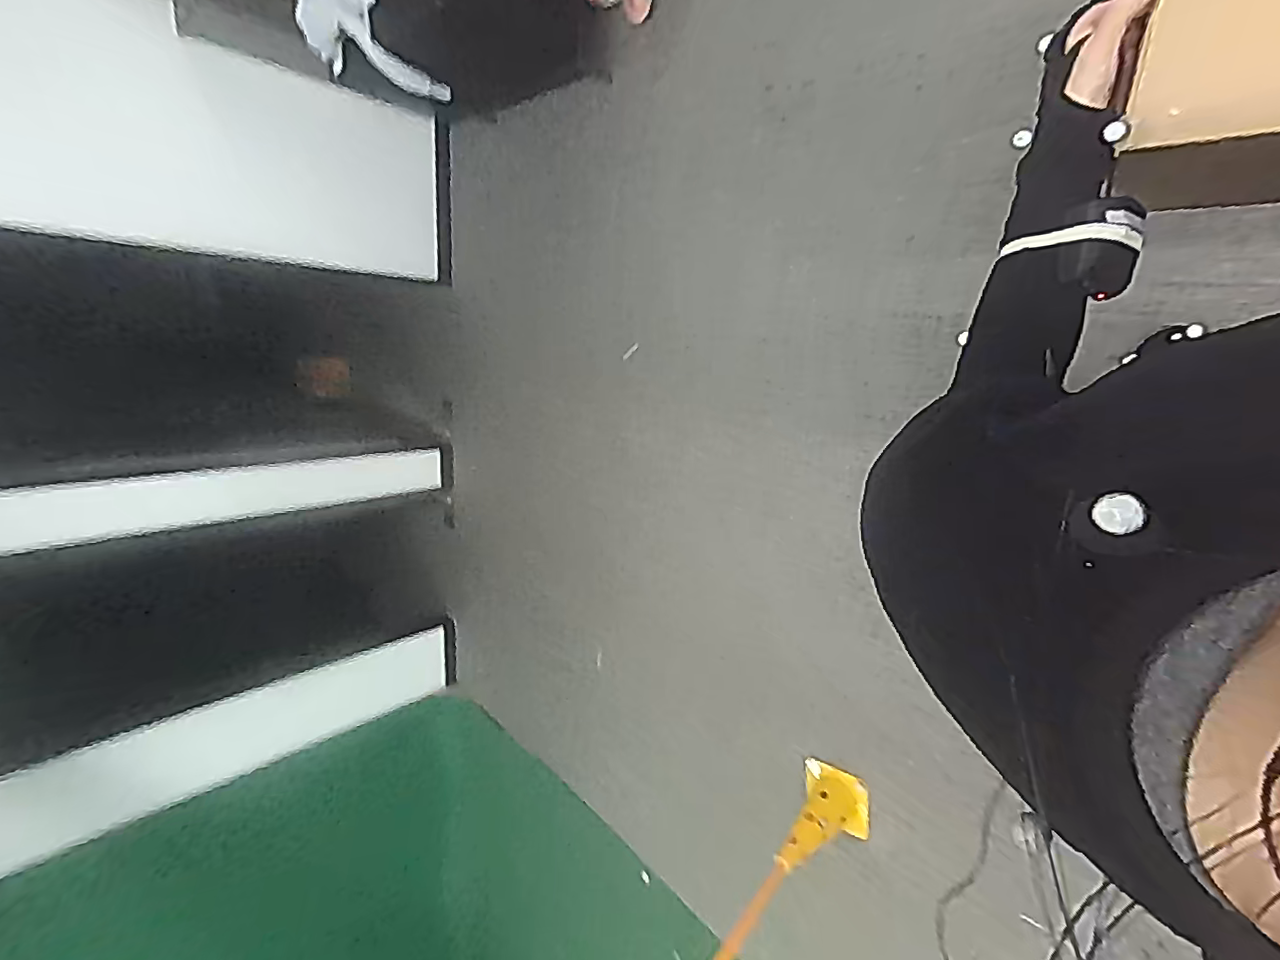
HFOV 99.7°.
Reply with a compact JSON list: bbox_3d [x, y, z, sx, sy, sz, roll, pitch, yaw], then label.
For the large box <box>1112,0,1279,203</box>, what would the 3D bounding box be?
[{"bbox_3d":[0.600,-0.386,0.344,0.408,0.320,0.320,14,111,37],"label":"large box"}]
